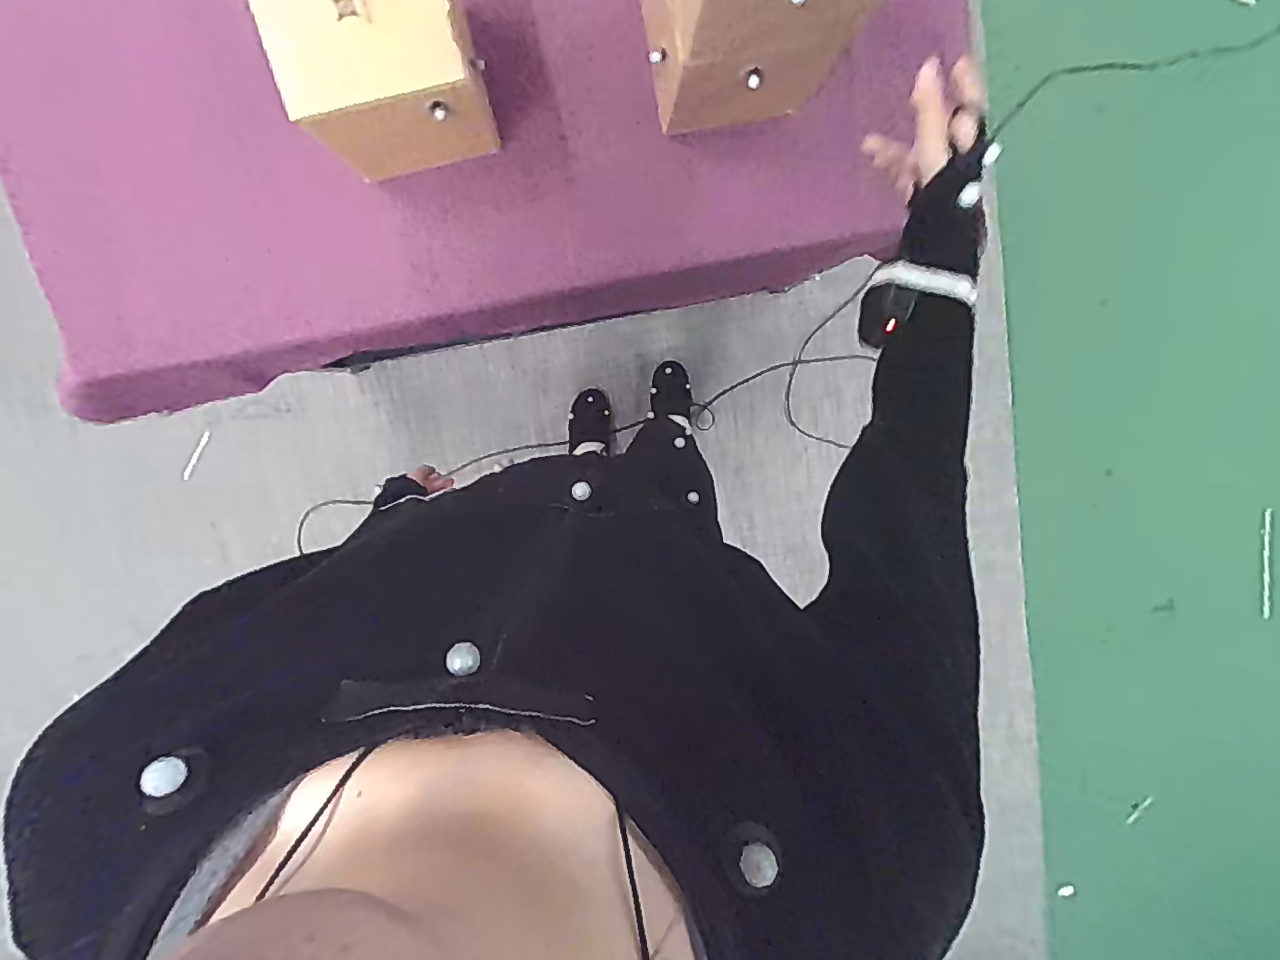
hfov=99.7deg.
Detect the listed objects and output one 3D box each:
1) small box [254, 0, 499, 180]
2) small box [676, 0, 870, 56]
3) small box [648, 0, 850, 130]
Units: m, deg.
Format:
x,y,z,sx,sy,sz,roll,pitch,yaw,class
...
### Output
x,y,z,sx,sy,sz,roll,pitch,yaw,class
-0.272,-0.455,0.587,0.179,0.176,0.168,-16,101,-1,small box
0.120,-0.489,0.436,0.179,0.176,0.168,-11,102,-1,small box
0.106,-0.519,0.598,0.179,0.176,0.168,-11,102,-2,small box
